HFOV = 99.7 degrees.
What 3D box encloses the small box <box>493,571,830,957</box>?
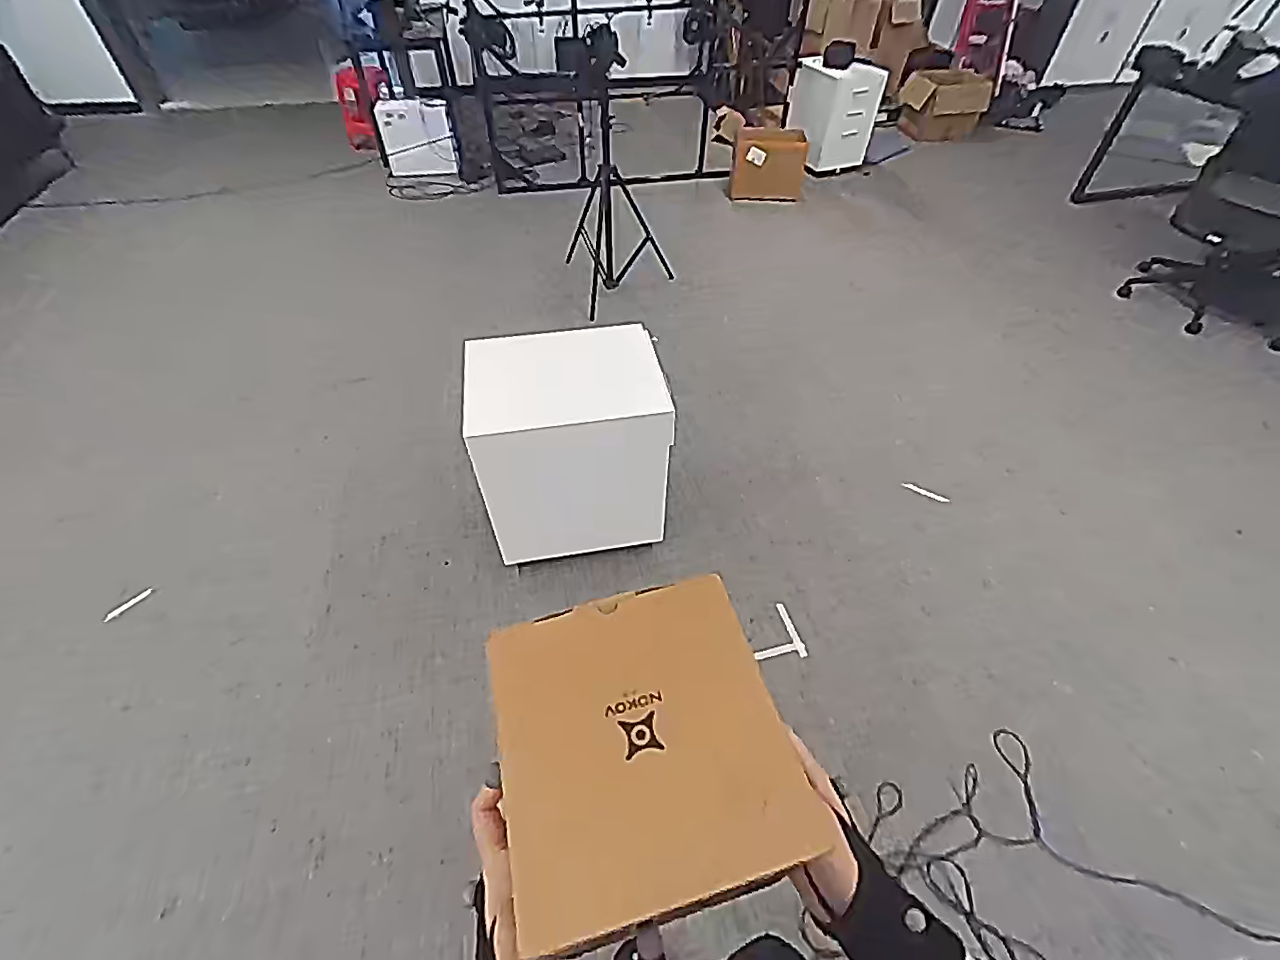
[{"bbox_3d":[0.004,0.197,0.381,0.168,0.176,0.179,-13,49,-9],"label":"small box"}]
